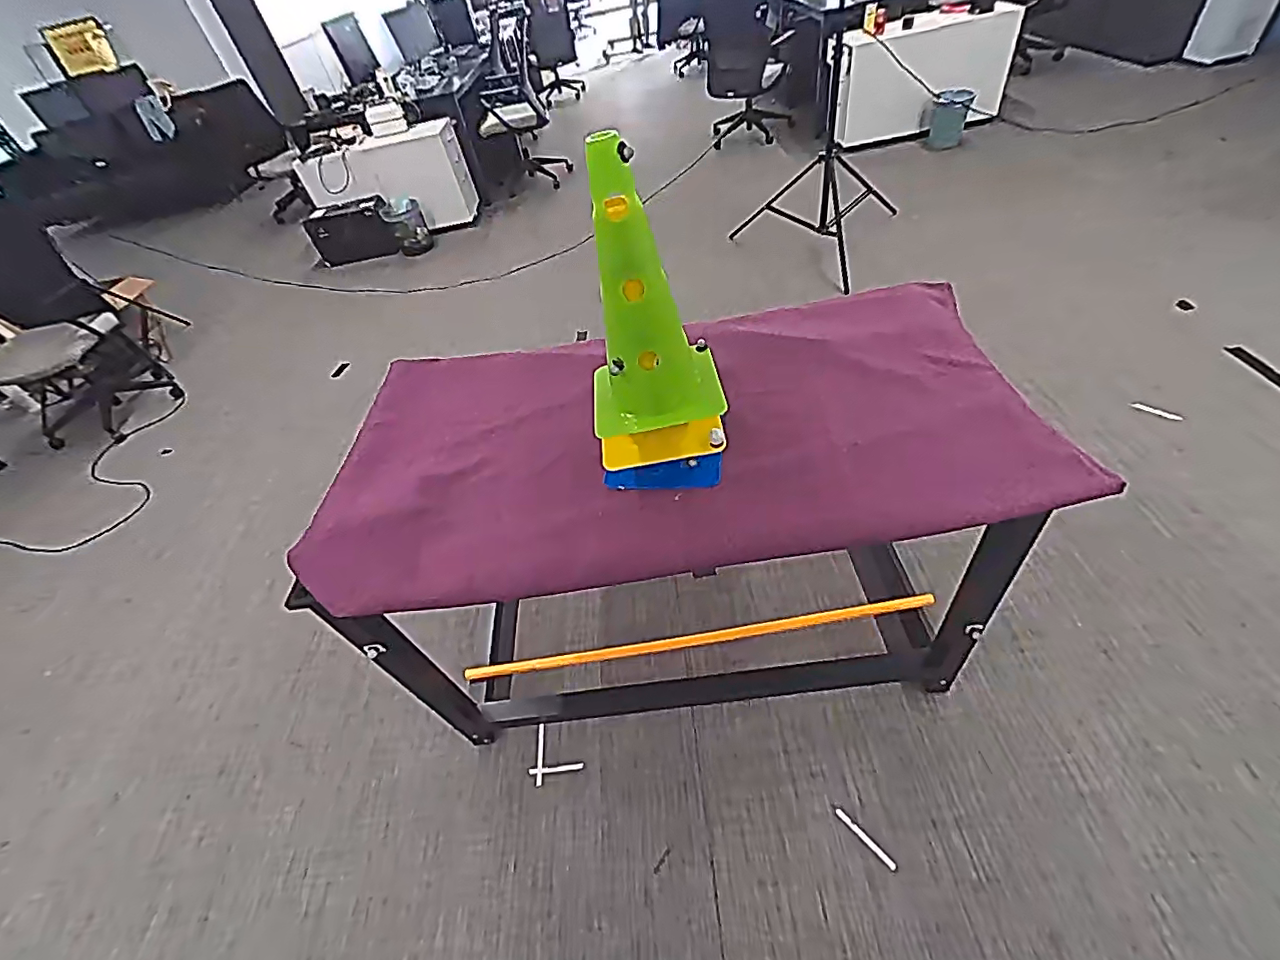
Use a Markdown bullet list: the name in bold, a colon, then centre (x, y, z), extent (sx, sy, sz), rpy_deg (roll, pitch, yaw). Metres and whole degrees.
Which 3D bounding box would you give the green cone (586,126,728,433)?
- **green cone**: centre (-0.010, -0.271, 0.737), extent (0.200, 0.368, 0.202), rpy_deg (-12, 44, 5)
